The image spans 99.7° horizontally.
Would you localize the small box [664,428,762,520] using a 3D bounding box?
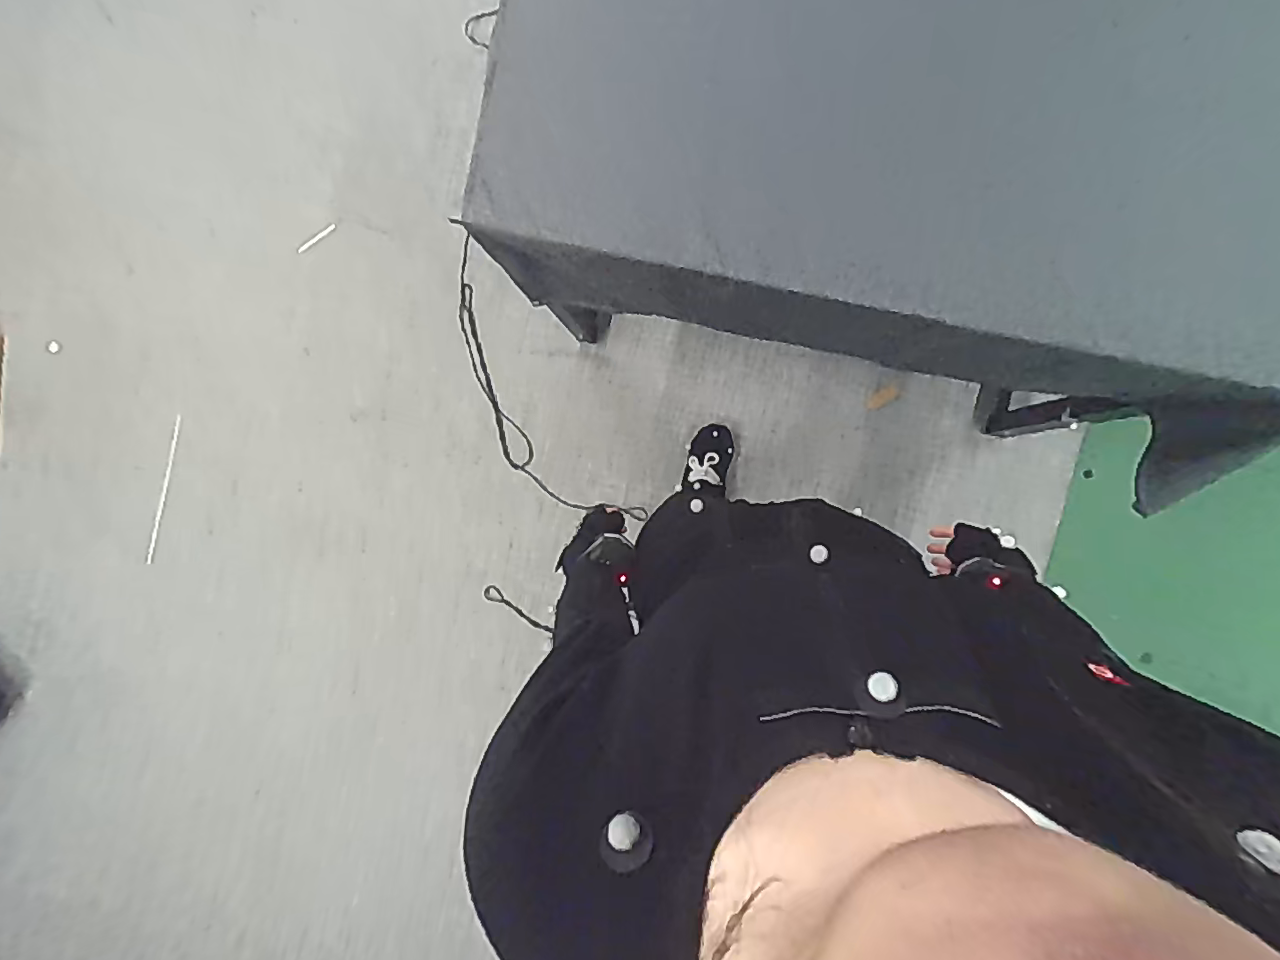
[{"bbox_3d":[0.187,-0.015,1.424,0.168,0.176,0.179,-44,64,20],"label":"small box"}]
